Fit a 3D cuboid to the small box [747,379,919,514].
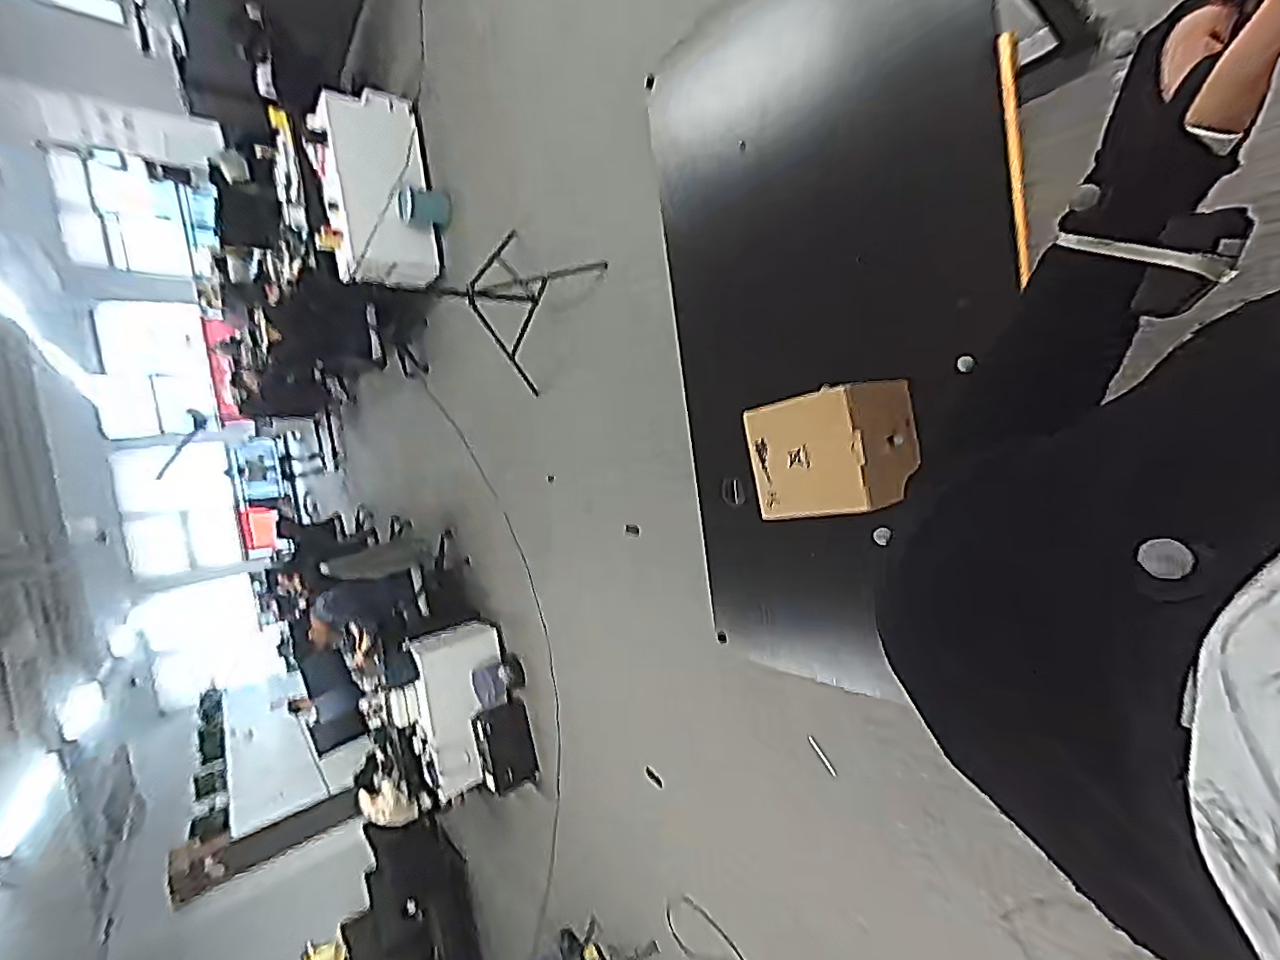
[{"bbox_3d":[0.291,-0.050,0.804,0.179,0.176,0.168,-11,90,52],"label":"small box"}]
